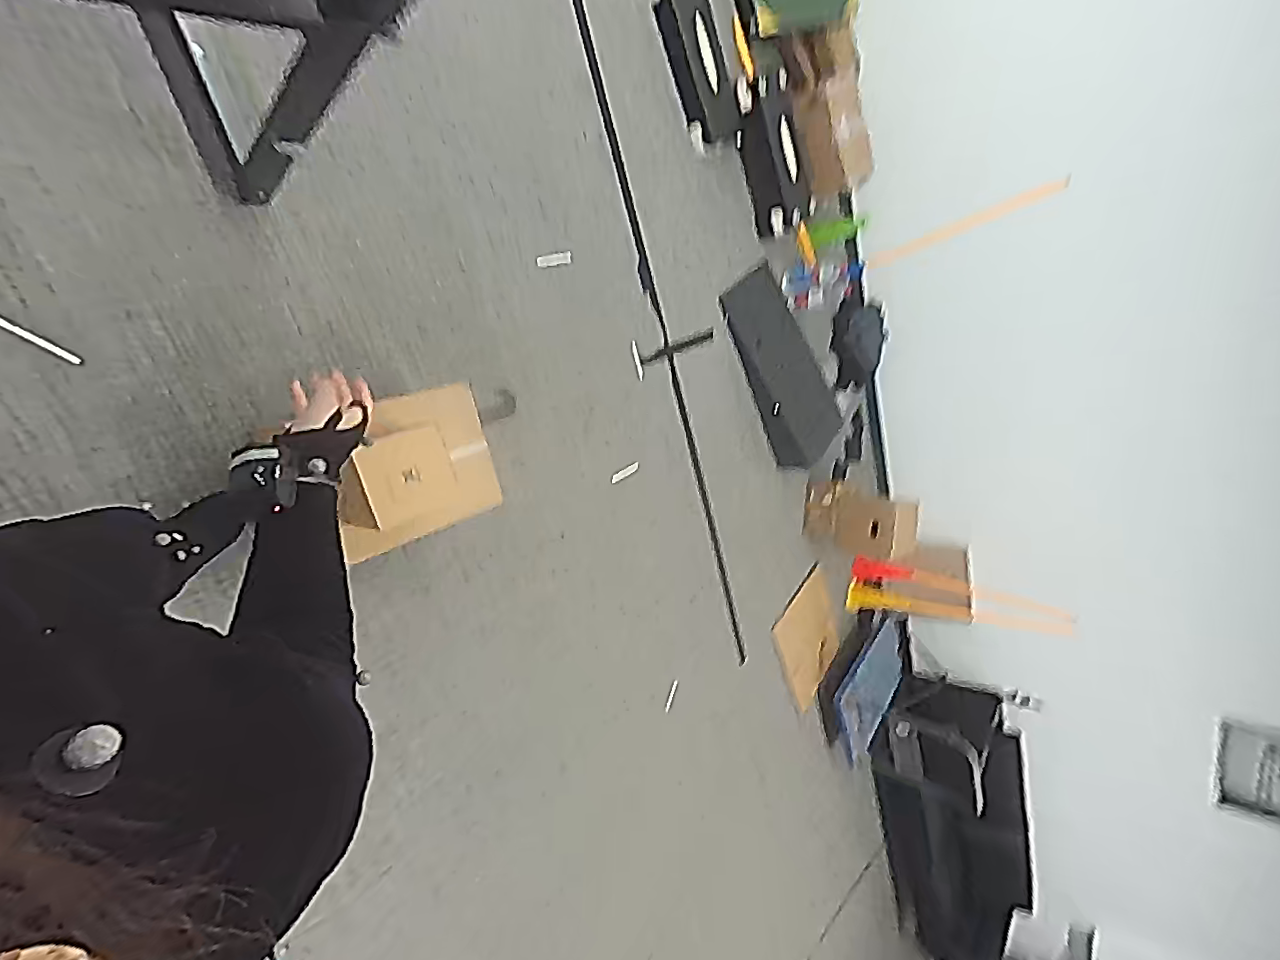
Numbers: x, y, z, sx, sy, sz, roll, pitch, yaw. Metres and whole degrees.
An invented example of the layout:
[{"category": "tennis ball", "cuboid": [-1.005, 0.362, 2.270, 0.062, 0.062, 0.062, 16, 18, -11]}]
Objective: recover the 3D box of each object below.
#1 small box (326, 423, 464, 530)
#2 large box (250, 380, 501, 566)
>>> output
[{"category": "small box", "cuboid": [-0.490, -0.012, 1.081, 0.179, 0.176, 0.168, -26, 108, -42]}, {"category": "large box", "cuboid": [-0.621, -0.033, 1.298, 0.408, 0.320, 0.320, -27, 111, -43]}]
